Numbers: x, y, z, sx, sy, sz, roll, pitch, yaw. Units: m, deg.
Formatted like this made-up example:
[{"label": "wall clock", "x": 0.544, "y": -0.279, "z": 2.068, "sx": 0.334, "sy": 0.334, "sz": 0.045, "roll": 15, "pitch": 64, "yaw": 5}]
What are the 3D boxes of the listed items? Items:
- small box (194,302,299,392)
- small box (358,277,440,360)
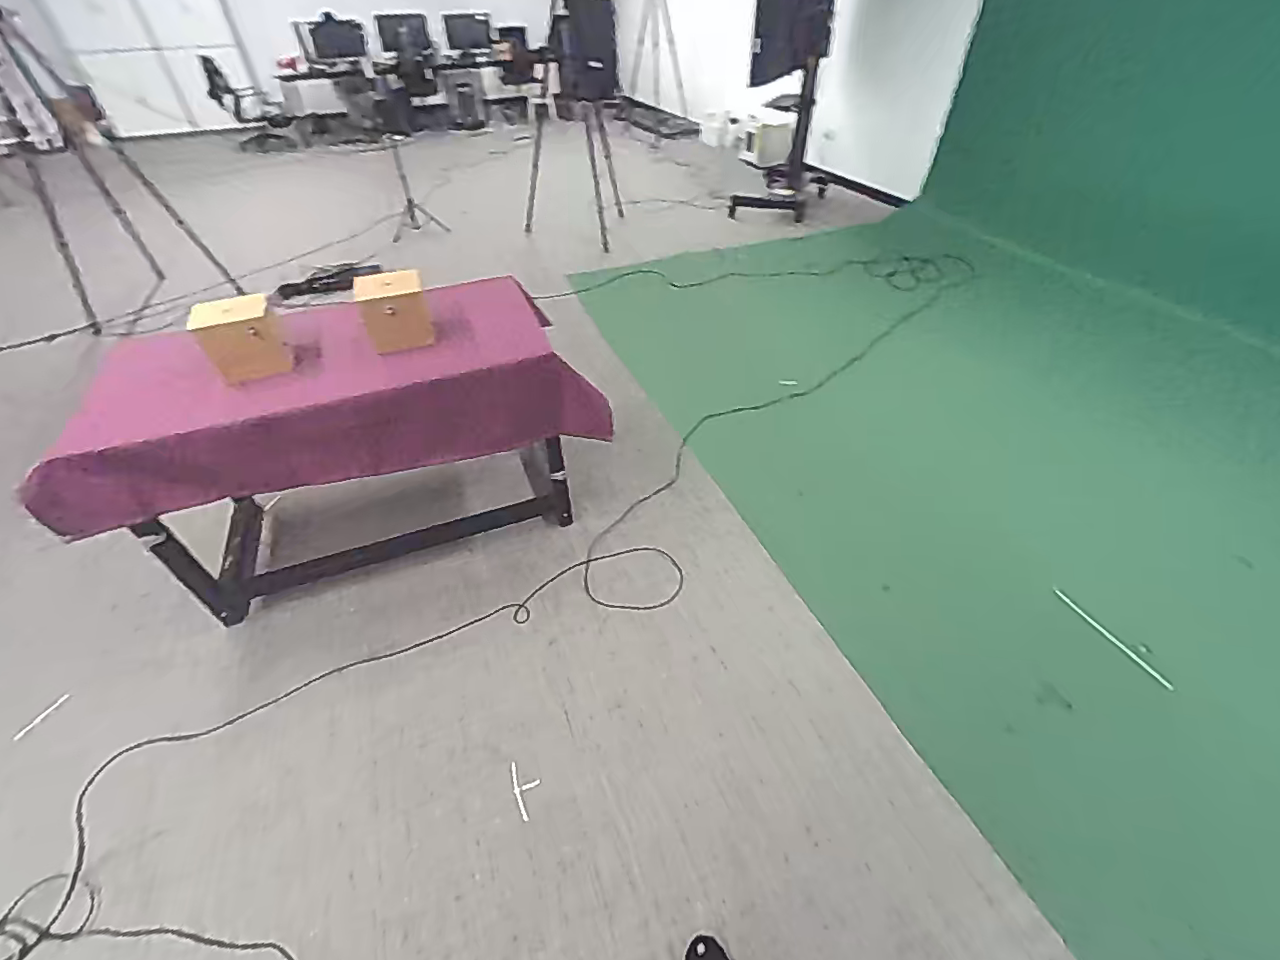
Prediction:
[{"label": "small box", "x": -1.070, "y": -0.363, "z": 1.485, "sx": 0.179, "sy": 0.176, "sz": 0.168, "roll": -19, "pitch": 45, "yaw": -18}, {"label": "small box", "x": -0.701, "y": -0.470, "z": 1.583, "sx": 0.179, "sy": 0.176, "sz": 0.168, "roll": -14, "pitch": 44, "yaw": -14}]
